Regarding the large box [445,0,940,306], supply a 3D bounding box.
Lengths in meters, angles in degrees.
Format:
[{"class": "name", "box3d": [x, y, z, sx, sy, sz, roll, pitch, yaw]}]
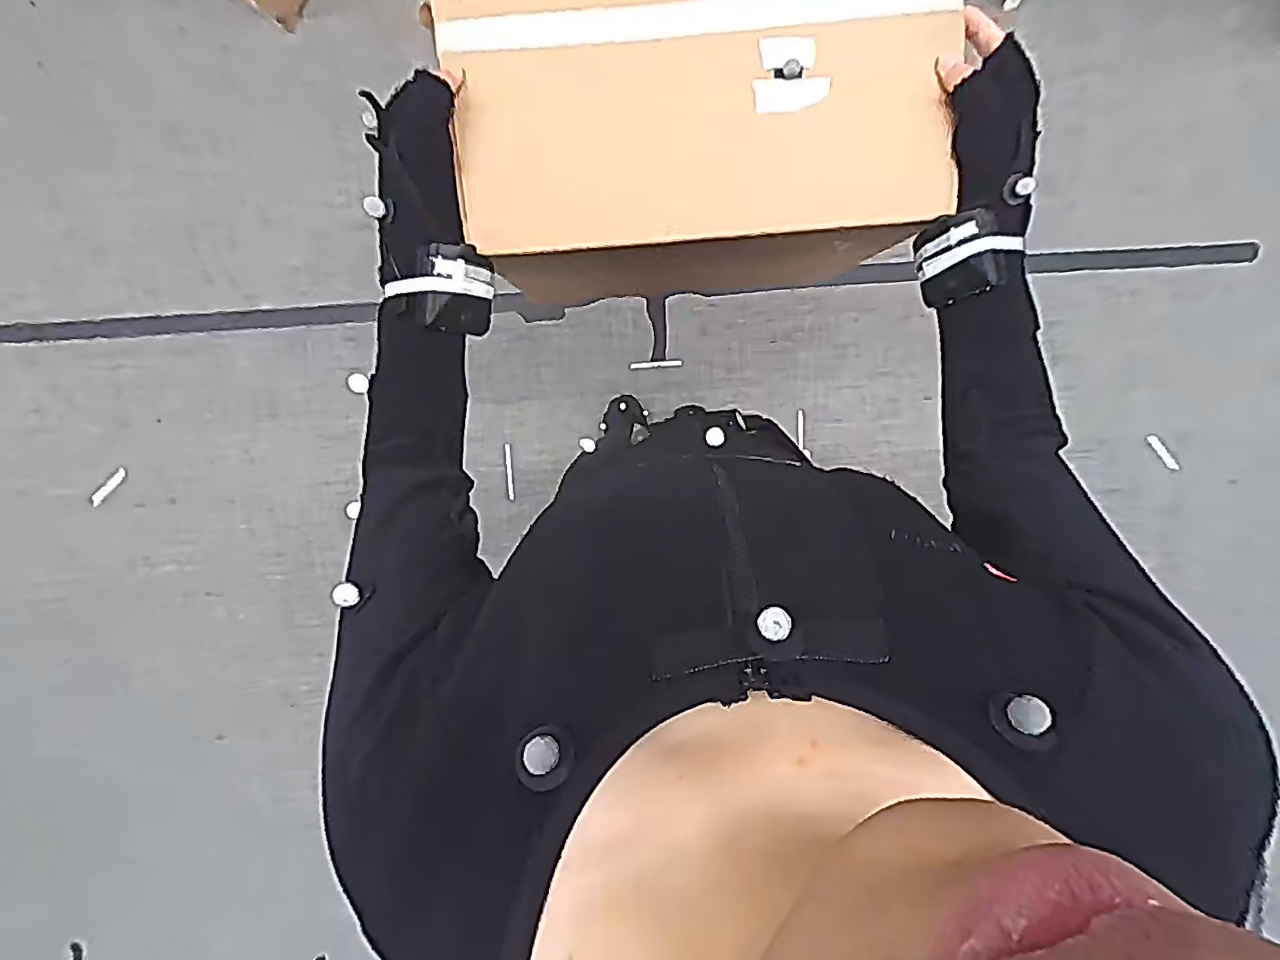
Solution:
[{"class": "large box", "box3d": [0.040, -0.384, 0.584, 0.408, 0.320, 0.320, -5, 101, -1]}]
